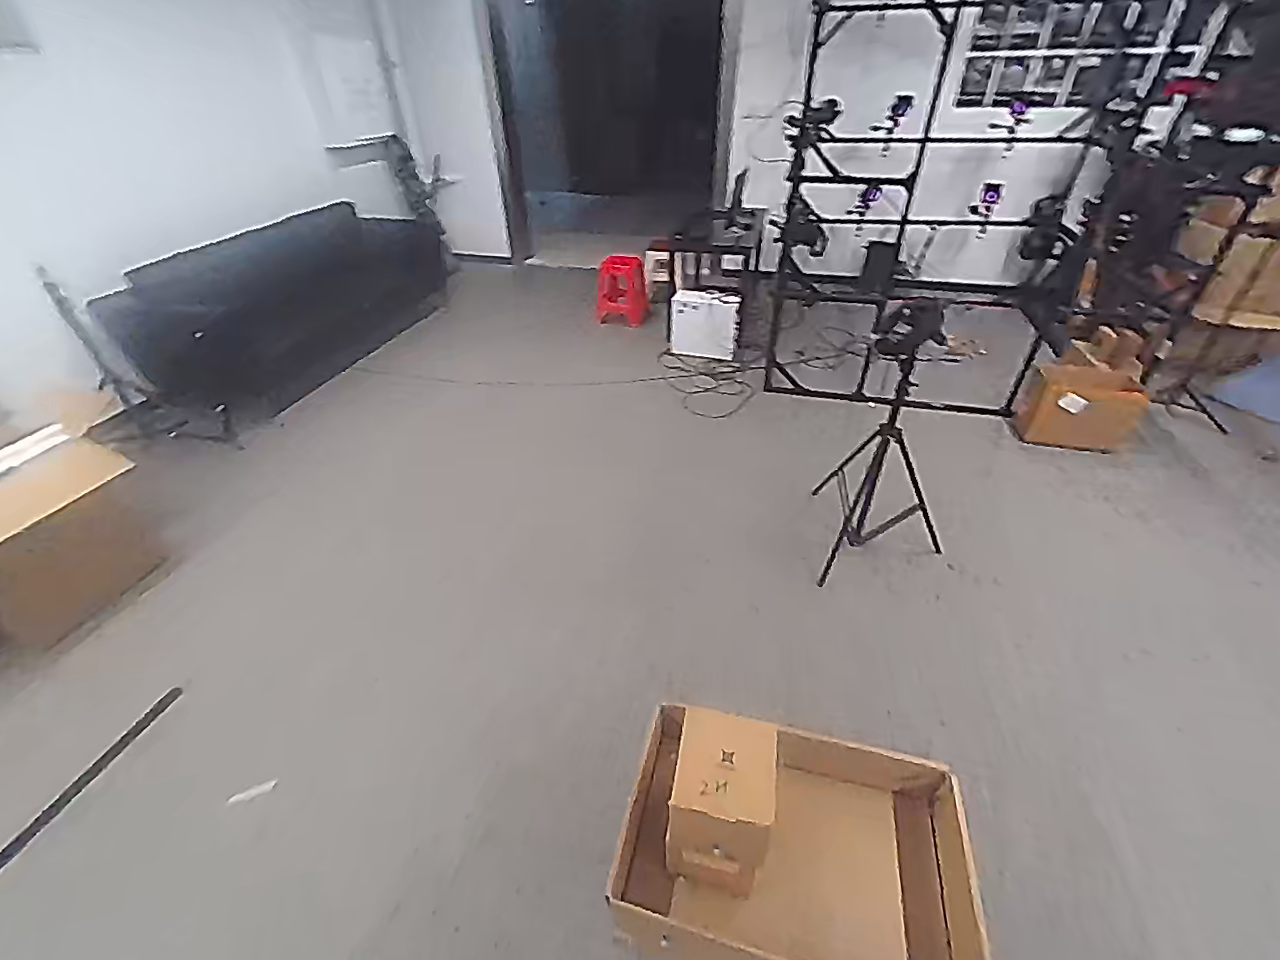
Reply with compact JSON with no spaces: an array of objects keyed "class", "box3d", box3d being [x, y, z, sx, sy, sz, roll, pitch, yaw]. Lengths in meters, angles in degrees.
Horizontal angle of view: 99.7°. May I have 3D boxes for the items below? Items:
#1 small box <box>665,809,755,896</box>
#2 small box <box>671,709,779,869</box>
[{"class":"small box","box3d":[0.148,0.672,1.059,0.168,0.176,0.179,7,37,13]},{"class":"small box","box3d":[0.149,0.543,0.957,0.168,0.176,0.179,6,37,12]}]
